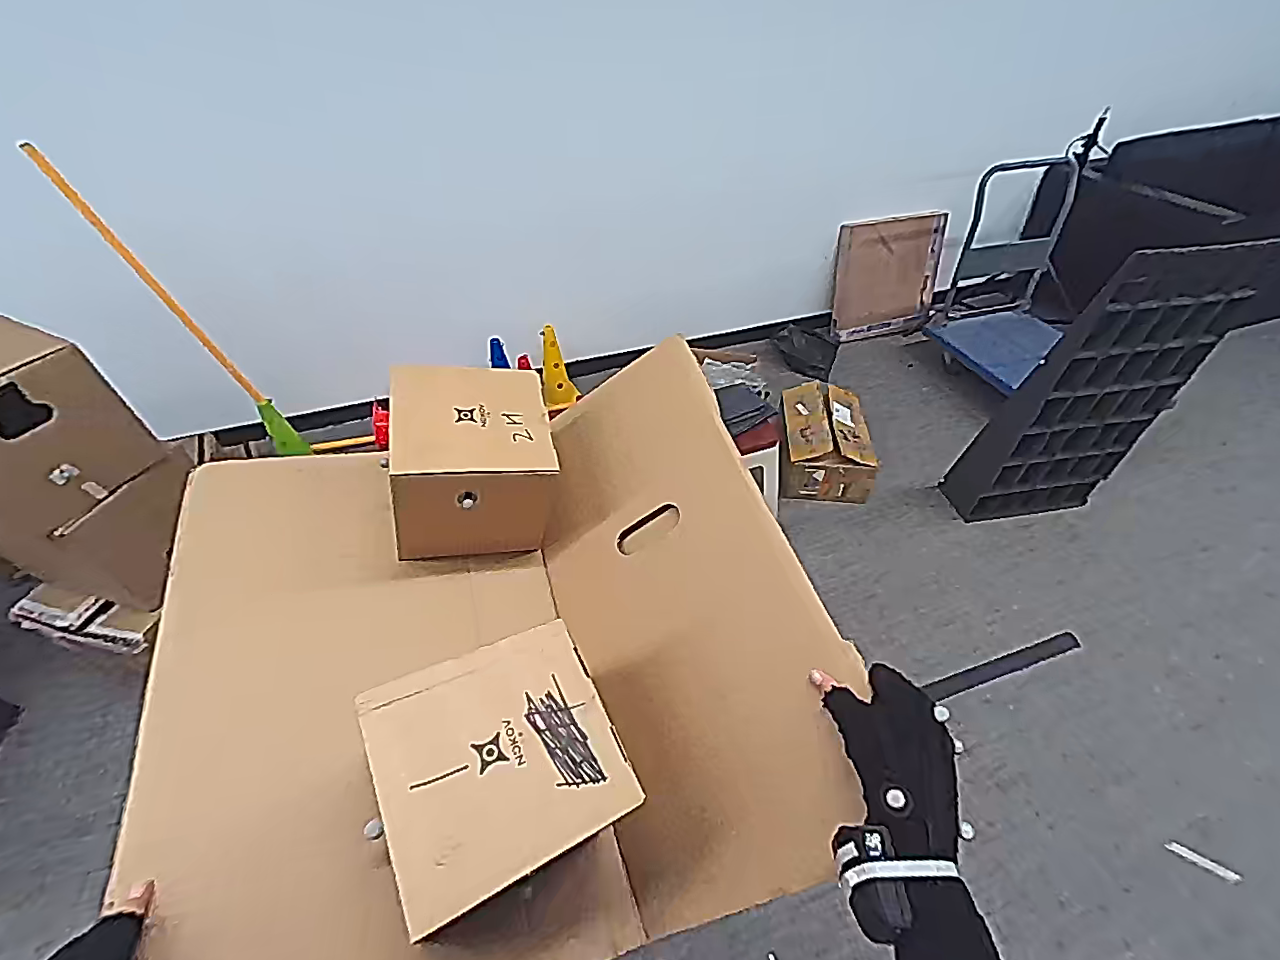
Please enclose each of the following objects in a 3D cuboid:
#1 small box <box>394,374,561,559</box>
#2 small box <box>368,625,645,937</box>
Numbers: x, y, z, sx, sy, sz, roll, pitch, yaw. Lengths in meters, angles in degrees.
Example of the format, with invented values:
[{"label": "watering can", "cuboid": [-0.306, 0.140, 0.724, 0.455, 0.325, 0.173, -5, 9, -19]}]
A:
[{"label": "small box", "cuboid": [-0.208, -0.012, 0.681, 0.179, 0.176, 0.168, -1, 52, -22]}, {"label": "small box", "cuboid": [-0.125, 0.261, 0.482, 0.179, 0.176, 0.168, -15, 58, -29]}]
